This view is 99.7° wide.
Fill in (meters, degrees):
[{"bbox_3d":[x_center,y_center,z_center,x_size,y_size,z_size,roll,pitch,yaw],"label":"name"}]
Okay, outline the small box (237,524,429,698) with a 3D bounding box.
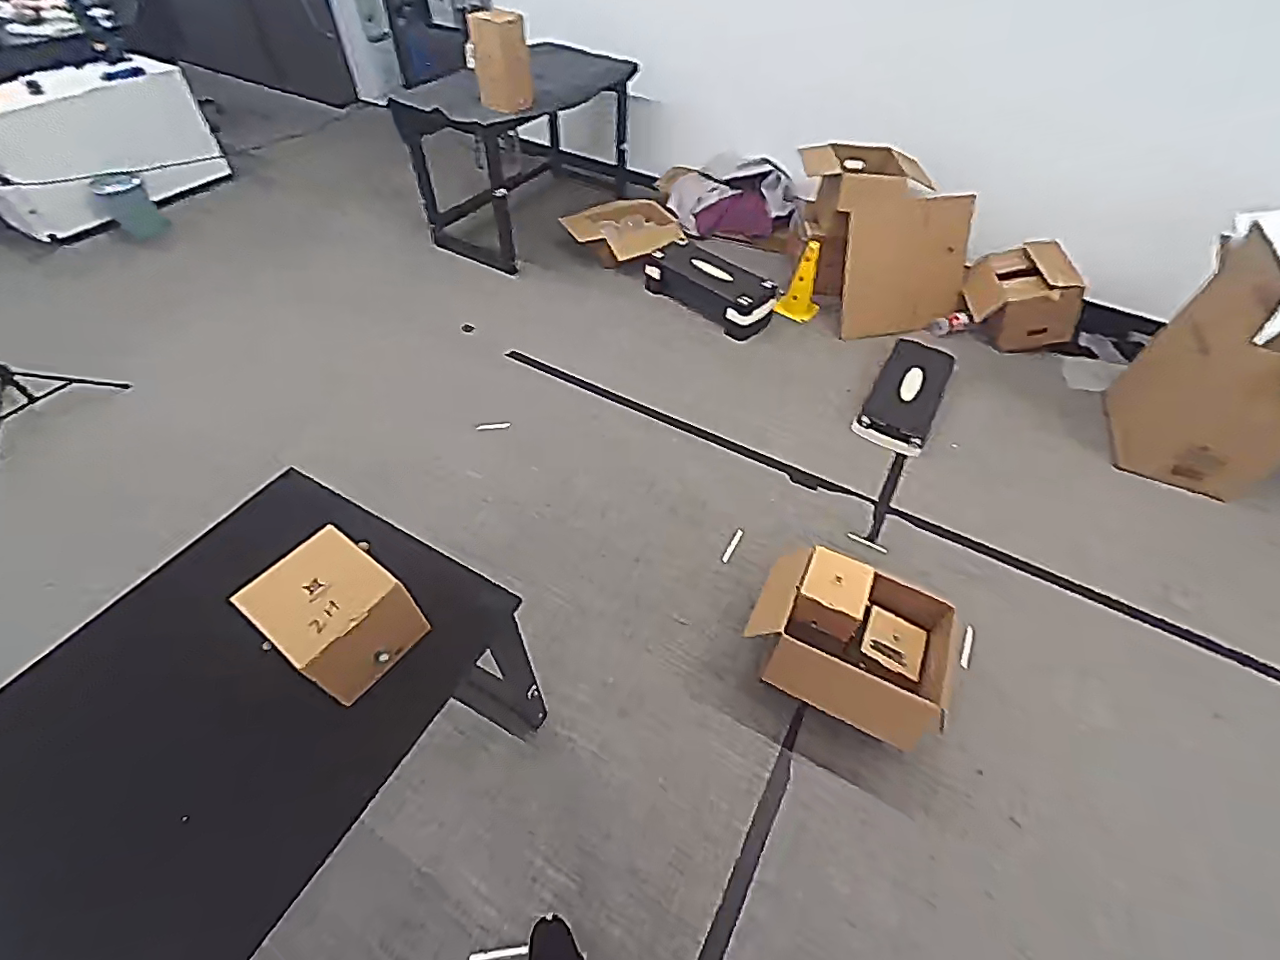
[{"bbox_3d":[-0.467,0.209,0.847,0.179,0.176,0.168,31,57,21],"label":"small box"}]
